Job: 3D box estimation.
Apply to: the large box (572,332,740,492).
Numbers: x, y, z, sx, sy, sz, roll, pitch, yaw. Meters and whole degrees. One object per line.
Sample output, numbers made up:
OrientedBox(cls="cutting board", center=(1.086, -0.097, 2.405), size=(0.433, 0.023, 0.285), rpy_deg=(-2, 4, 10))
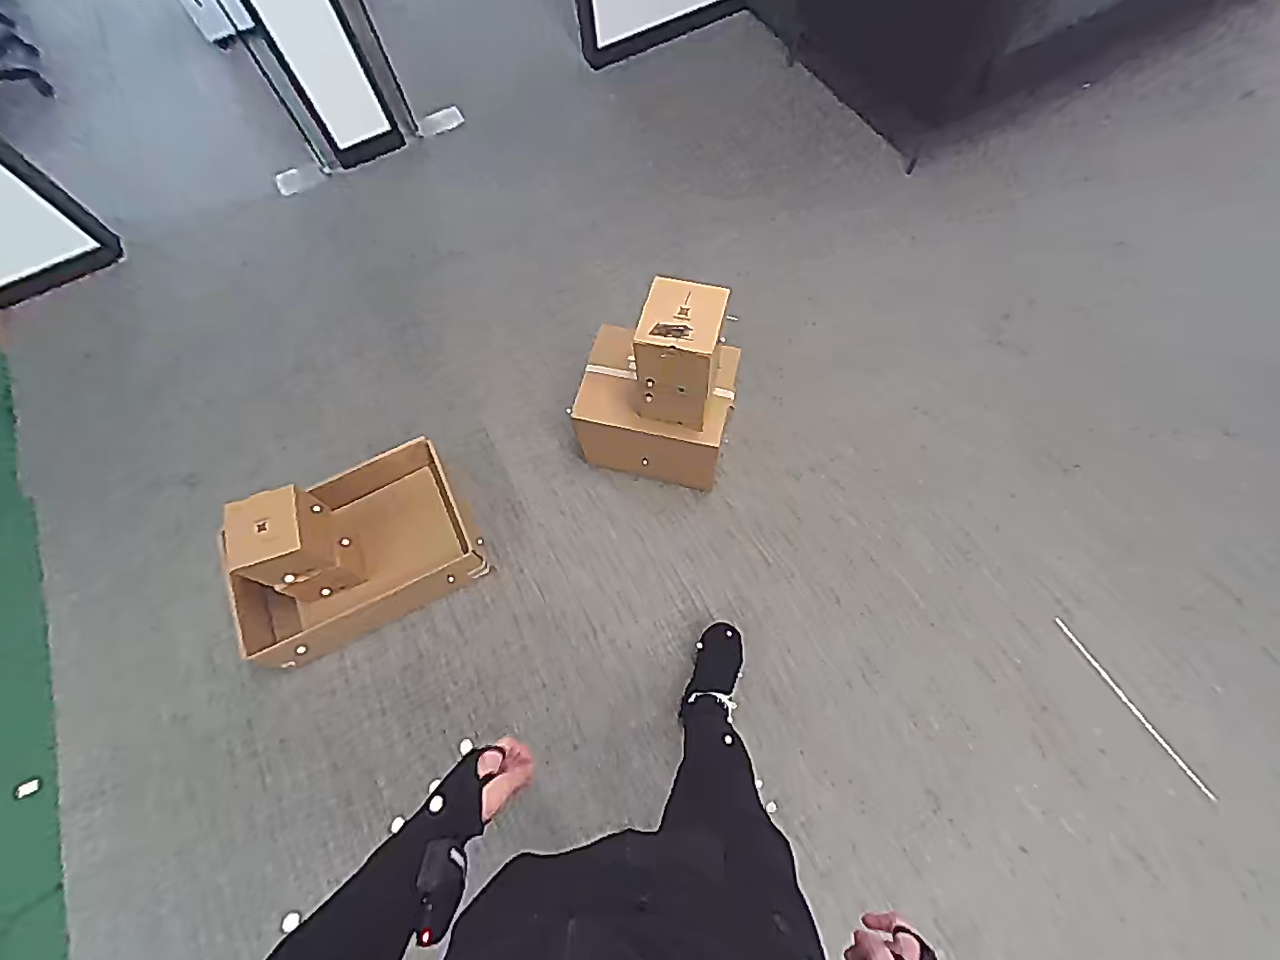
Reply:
OrientedBox(cls="large box", center=(0.061, -0.189, 1.585), size=(0.408, 0.320, 0.320), rpy_deg=(12, 67, 10))

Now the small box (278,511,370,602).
OrientedBox(cls="small box", center=(-0.875, 0.216, 1.489), size=(0.168, 0.176, 0.179), rpy_deg=(-21, 68, -9))

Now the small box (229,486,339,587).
OrientedBox(cls="small box", center=(-0.878, 0.144, 1.342), size=(0.168, 0.176, 0.179), rpy_deg=(-18, 67, -7))

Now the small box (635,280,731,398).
OrientedBox(cls="small box", center=(0.096, -0.303, 1.184), size=(0.168, 0.176, 0.179), rpy_deg=(13, 68, 9))
